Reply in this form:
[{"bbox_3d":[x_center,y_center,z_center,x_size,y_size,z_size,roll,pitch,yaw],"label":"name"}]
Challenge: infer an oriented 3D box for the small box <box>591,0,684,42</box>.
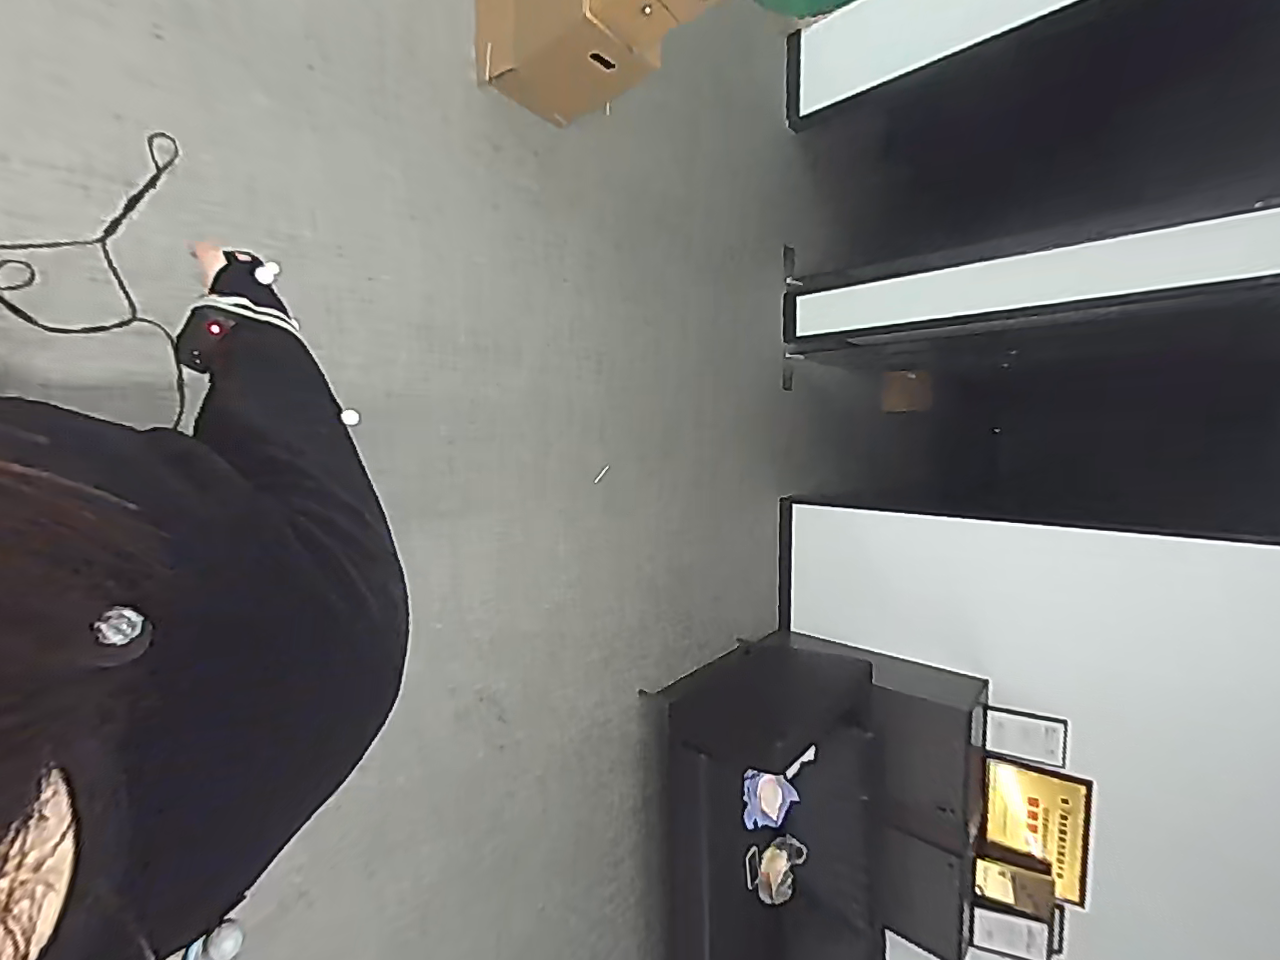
[{"bbox_3d":[-0.002,-1.270,1.373,0.179,0.176,0.168,3,90,-47],"label":"small box"}]
